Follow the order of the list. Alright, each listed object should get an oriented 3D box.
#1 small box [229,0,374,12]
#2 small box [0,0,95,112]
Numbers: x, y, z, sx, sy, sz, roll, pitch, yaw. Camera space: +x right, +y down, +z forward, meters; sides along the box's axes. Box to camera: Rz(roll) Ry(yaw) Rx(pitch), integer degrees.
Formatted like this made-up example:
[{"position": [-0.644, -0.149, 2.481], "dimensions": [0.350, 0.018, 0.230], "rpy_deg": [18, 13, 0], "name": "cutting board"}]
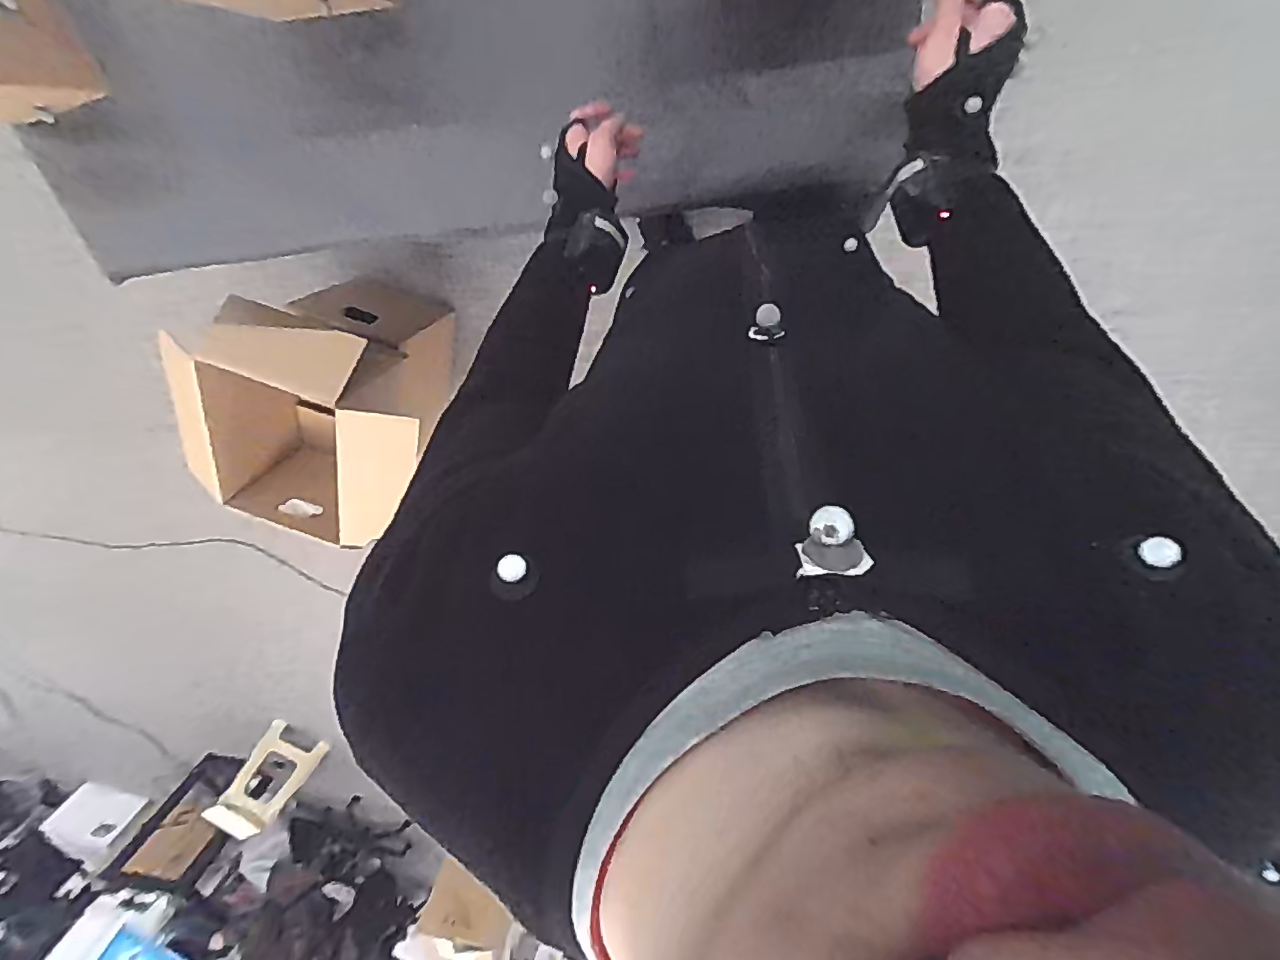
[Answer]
[{"position": [-0.369, -0.577, 0.518], "dimensions": [0.179, 0.176, 0.168], "rpy_deg": [4, 122, 12], "name": "small box"}, {"position": [-0.815, -0.548, 0.634], "dimensions": [0.179, 0.176, 0.168], "rpy_deg": [-5, 121, 14], "name": "small box"}]
